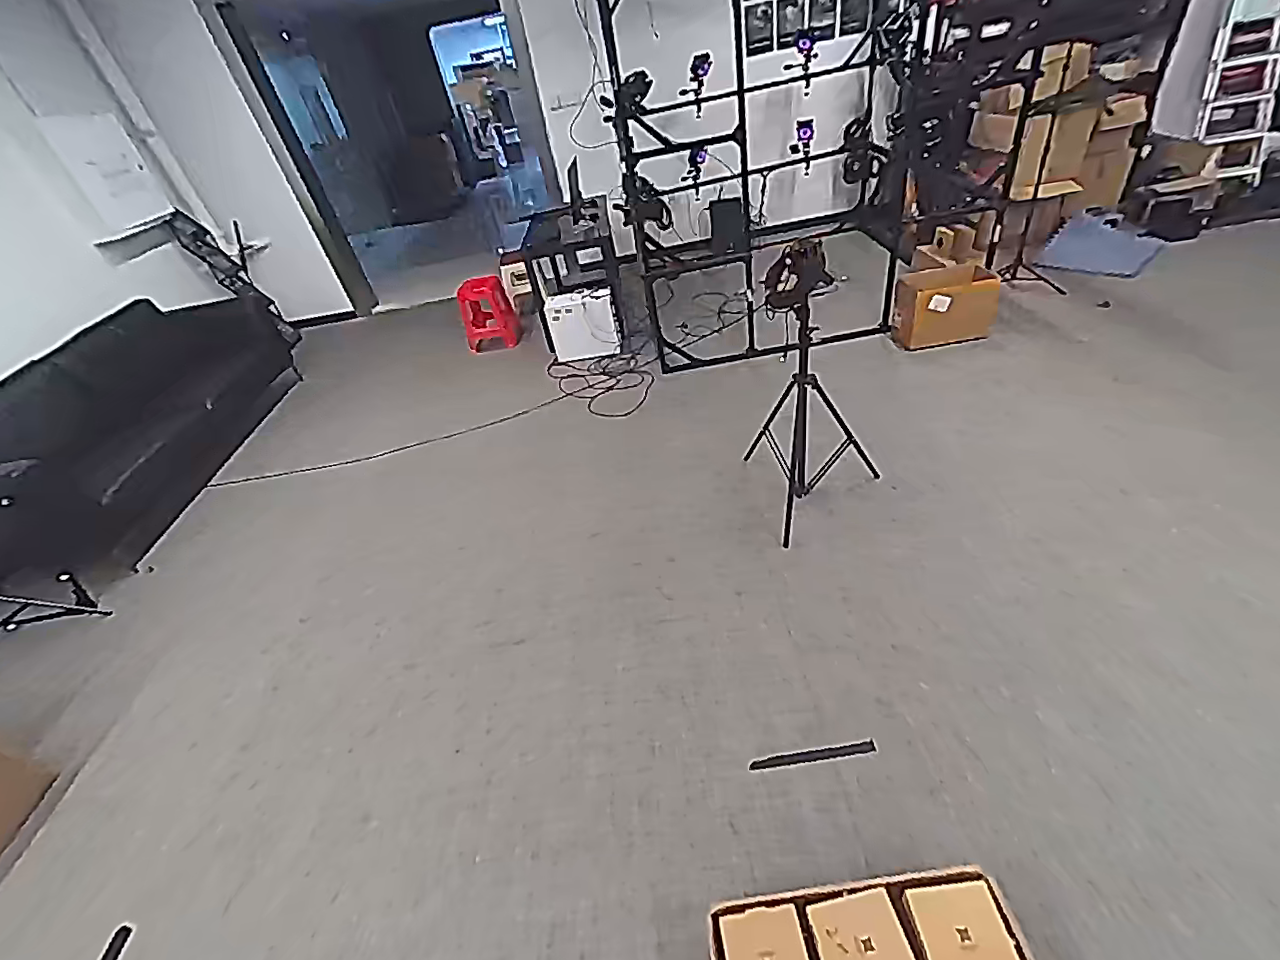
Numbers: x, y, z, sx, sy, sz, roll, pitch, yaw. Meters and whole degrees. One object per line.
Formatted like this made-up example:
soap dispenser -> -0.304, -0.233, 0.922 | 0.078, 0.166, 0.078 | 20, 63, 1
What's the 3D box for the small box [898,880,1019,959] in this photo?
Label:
small box -> 0.651, 0.958, 1.111 | 0.168, 0.176, 0.179 | -11, 41, 4
